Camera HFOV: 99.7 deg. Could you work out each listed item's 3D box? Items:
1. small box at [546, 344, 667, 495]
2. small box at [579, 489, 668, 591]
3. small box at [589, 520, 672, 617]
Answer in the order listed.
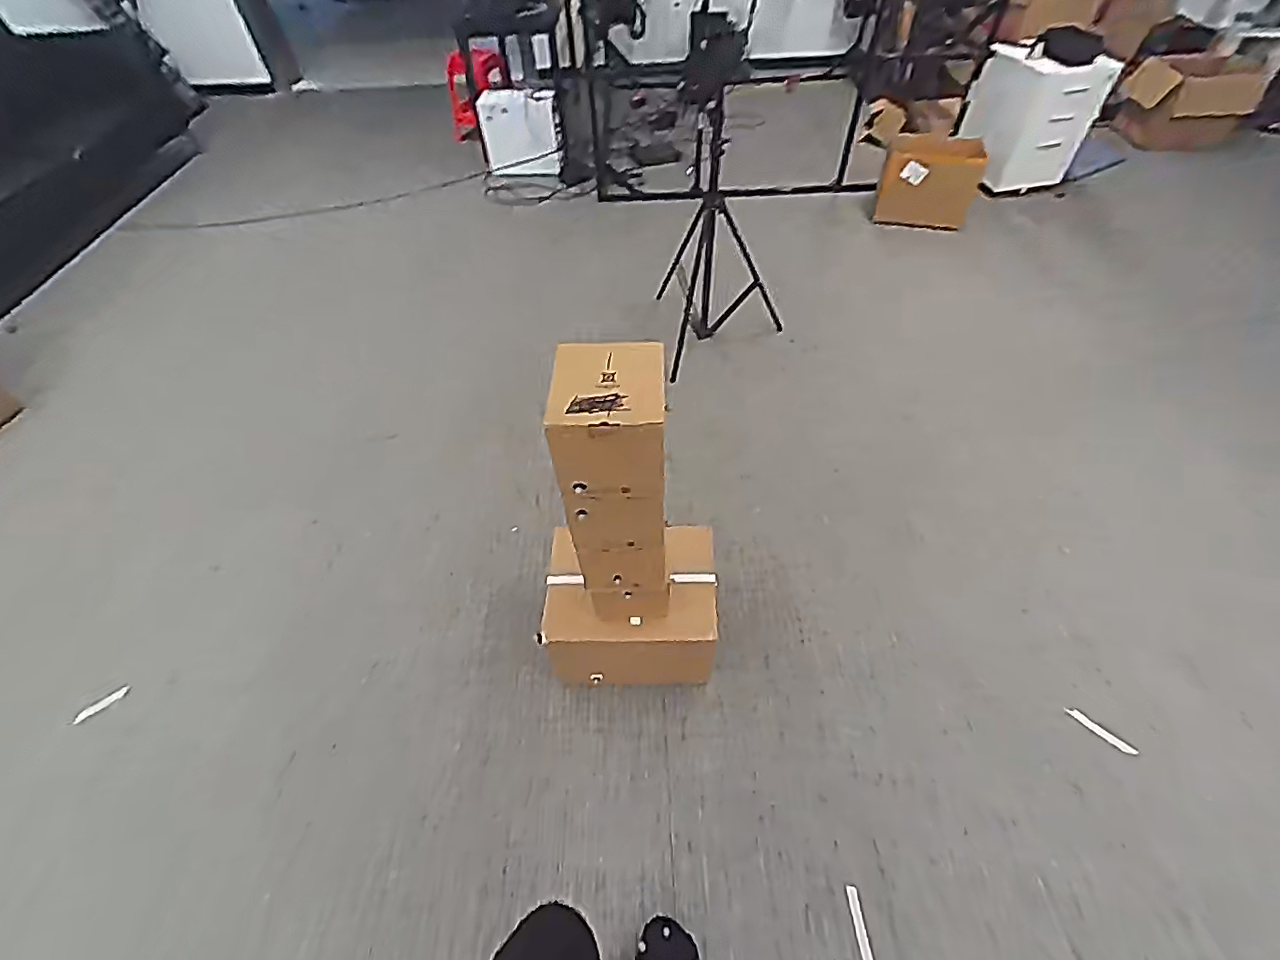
[{"bbox_3d":[-0.041,-0.090,0.842,0.168,0.176,0.179,0,52,2],"label":"small box"},{"bbox_3d":[-0.029,0.110,1.103,0.168,0.176,0.179,-2,53,1],"label":"small box"},{"bbox_3d":[-0.019,0.204,1.235,0.179,0.176,0.168,-2,53,0],"label":"small box"}]
